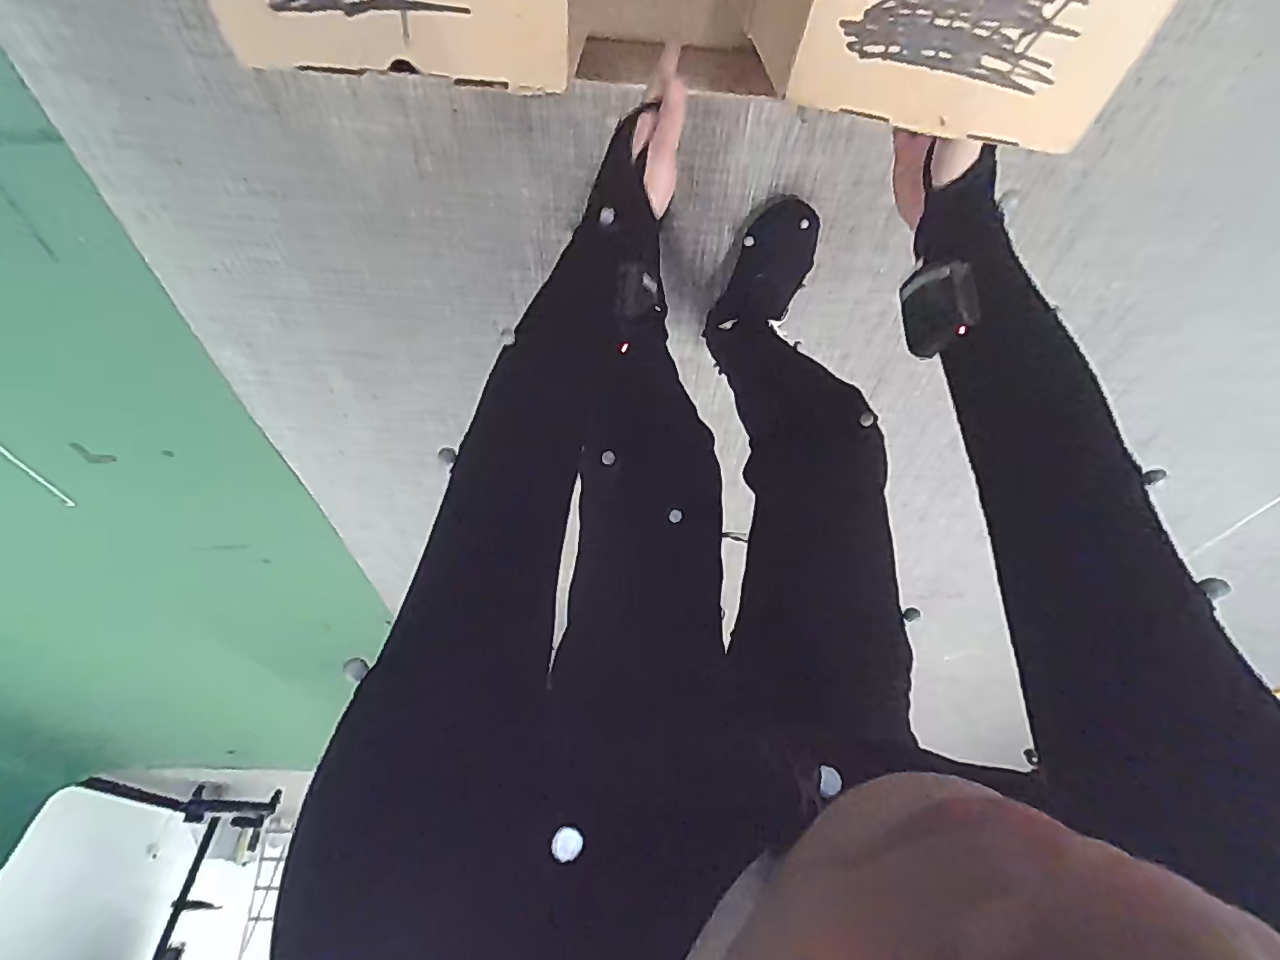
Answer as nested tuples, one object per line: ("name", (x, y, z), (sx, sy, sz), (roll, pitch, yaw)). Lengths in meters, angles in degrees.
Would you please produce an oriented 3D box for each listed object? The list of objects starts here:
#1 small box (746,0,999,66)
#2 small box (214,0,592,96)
("small box", (0.170, -0.428, 0.377), (0.168, 0.176, 0.179), (4, 141, -5))
("small box", (-0.107, -0.315, 0.254), (0.168, 0.176, 0.179), (2, 140, -4))
